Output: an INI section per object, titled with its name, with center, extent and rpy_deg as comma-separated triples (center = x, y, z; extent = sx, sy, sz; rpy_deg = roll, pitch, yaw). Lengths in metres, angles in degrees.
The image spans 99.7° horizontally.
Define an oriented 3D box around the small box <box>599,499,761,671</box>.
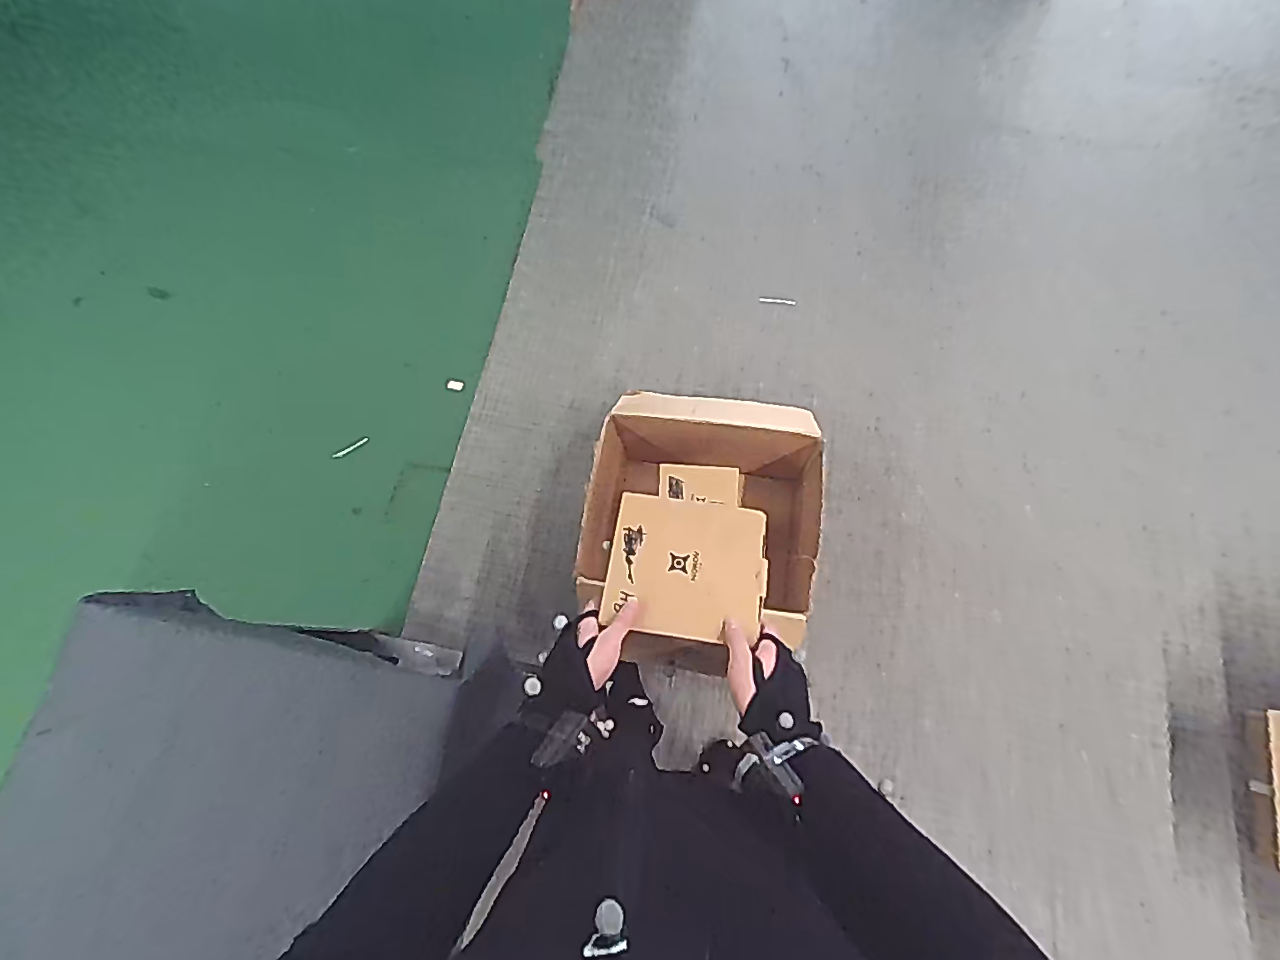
[small box]
center = 0.051, 0.142, 0.697
extent = 0.179, 0.176, 0.168
rpy_deg = 6, 62, 3
